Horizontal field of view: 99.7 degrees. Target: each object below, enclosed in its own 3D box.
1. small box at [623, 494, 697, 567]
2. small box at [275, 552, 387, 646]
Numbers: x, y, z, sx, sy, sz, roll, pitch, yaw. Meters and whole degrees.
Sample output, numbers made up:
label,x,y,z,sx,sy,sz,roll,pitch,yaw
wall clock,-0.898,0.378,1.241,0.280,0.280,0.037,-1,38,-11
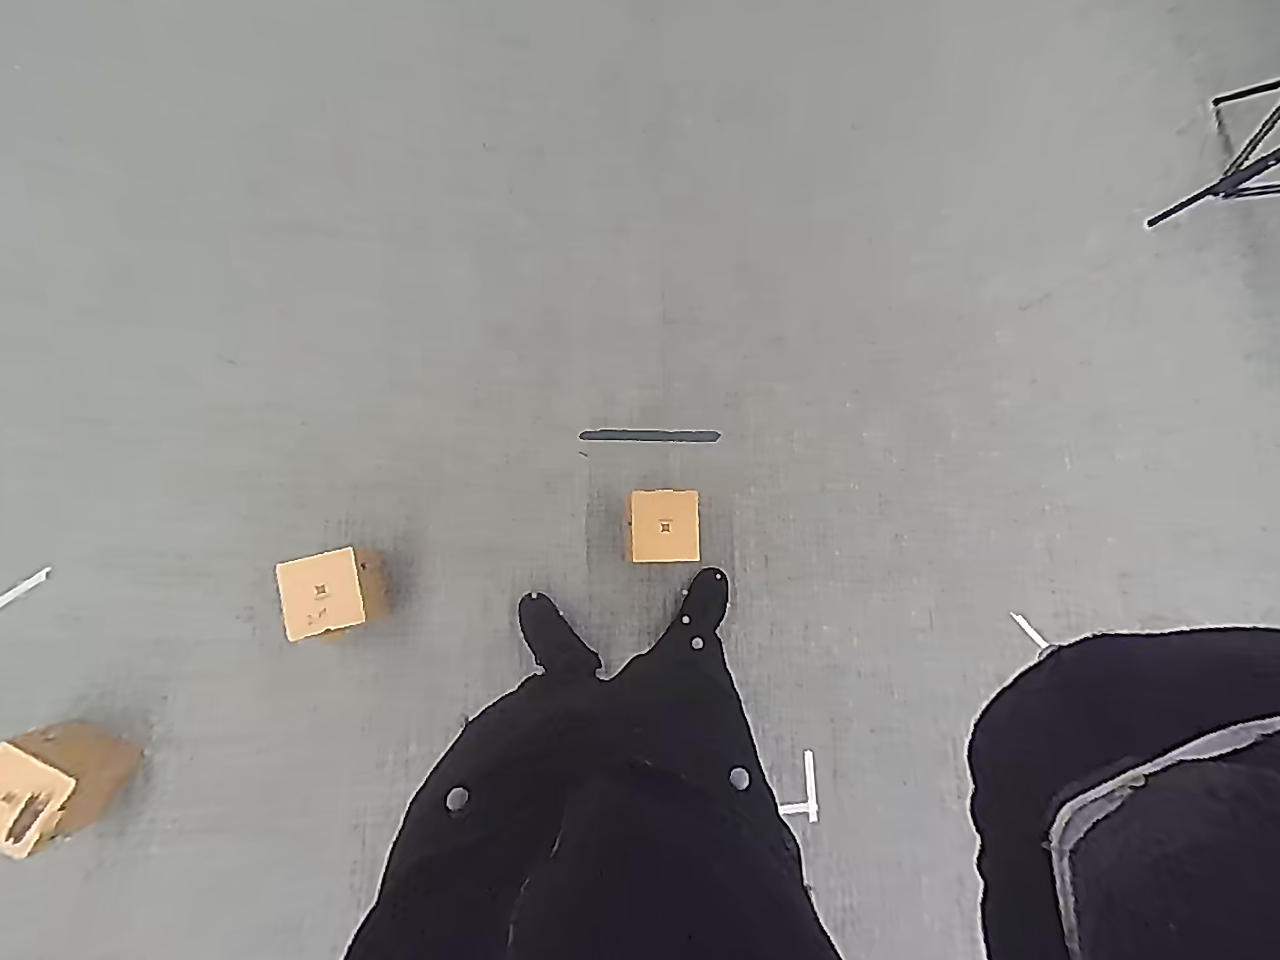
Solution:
label,x,y,z,sx,sy,sz,roll,pitch,yaw
small box,0.047,0.133,1.391,0.168,0.176,0.179,-1,80,-7
small box,-0.717,0.274,1.269,0.168,0.176,0.179,-13,83,-9
